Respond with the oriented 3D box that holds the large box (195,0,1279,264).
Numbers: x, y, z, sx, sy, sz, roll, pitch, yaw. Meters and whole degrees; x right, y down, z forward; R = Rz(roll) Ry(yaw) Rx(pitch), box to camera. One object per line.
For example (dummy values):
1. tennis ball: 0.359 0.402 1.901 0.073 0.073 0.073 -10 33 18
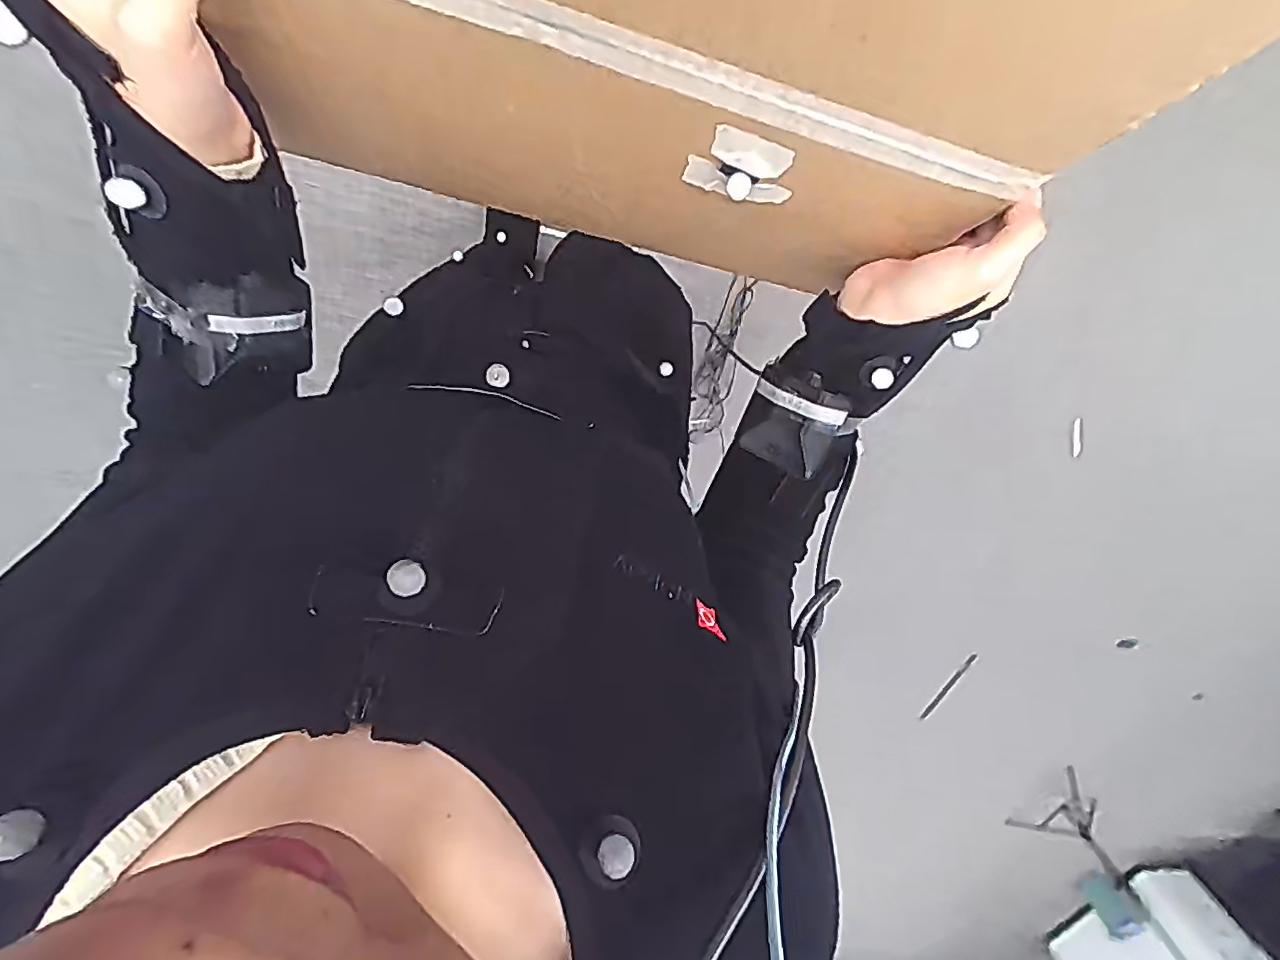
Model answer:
1. large box: 0.029 -0.338 0.214 0.408 0.320 0.320 8 86 -12
